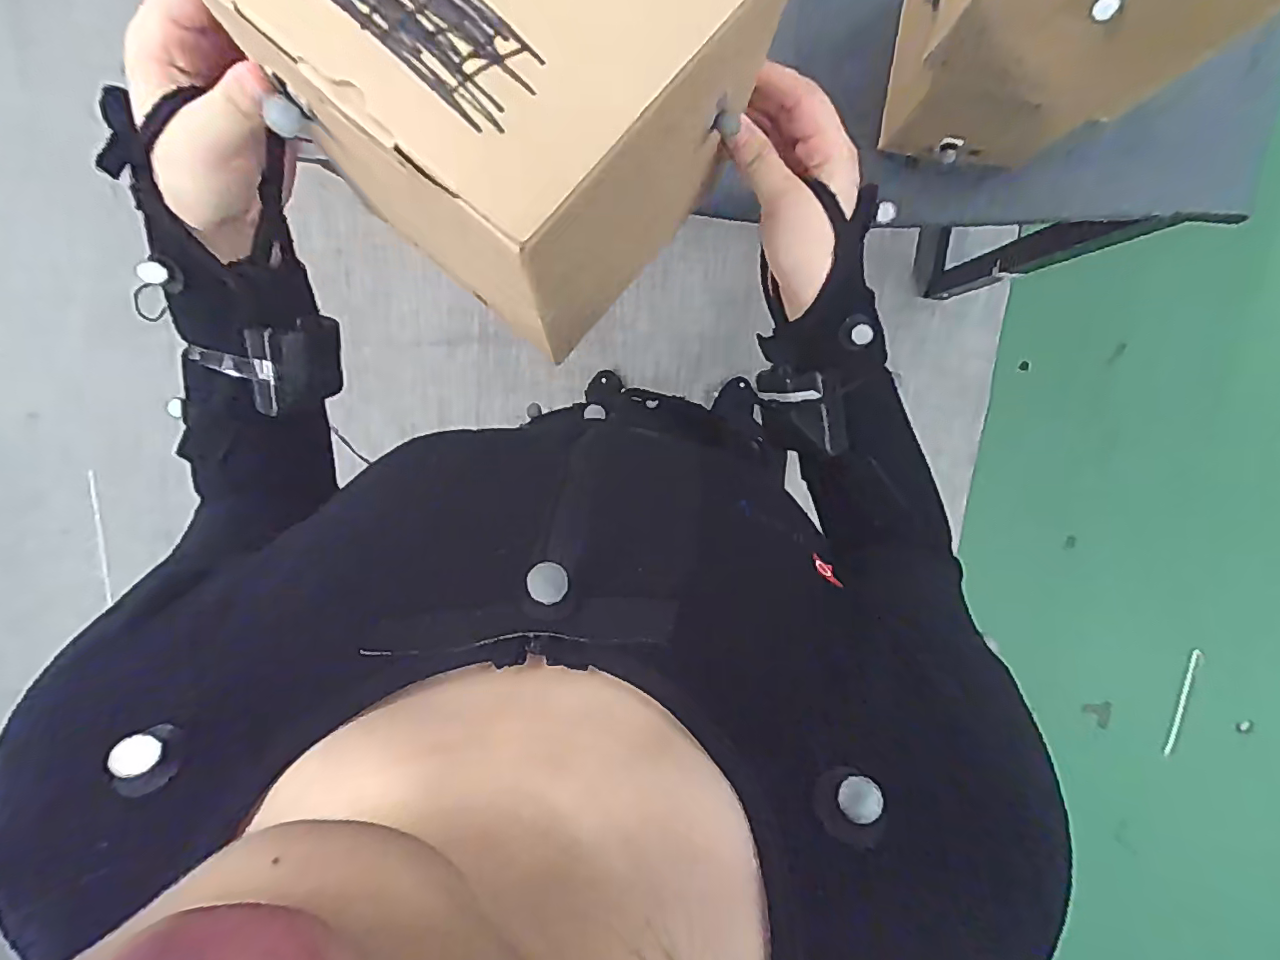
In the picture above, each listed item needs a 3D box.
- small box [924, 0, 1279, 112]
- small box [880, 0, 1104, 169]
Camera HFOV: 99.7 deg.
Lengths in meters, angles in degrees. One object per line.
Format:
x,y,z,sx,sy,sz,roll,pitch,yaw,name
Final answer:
0.352,-0.409,0.395,0.179,0.176,0.168,18,100,3,small box
0.366,-0.451,0.552,0.168,0.176,0.179,7,100,4,small box
